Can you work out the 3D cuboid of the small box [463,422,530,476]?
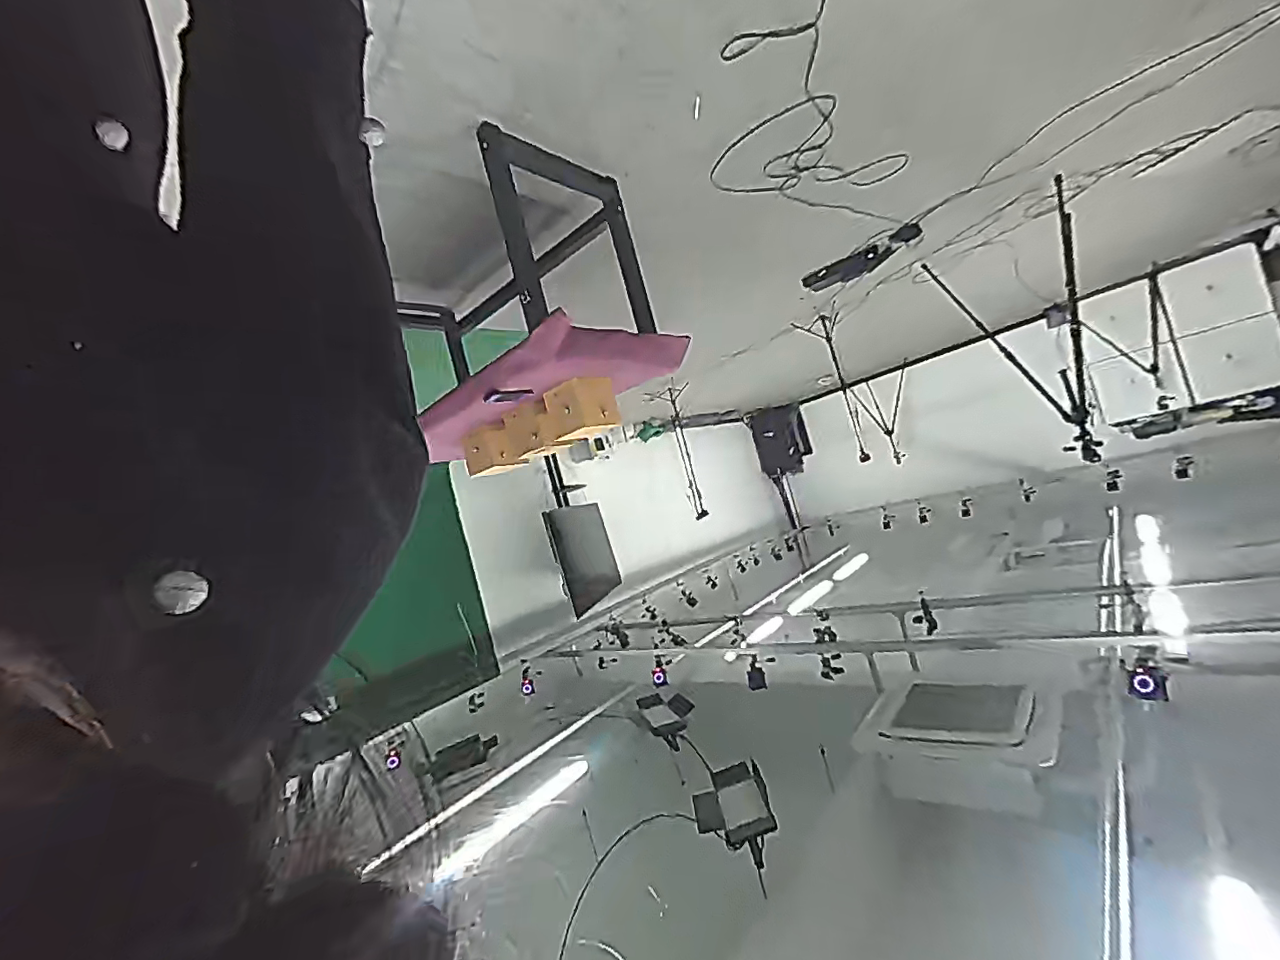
[{"bbox_3d":[-0.565,-0.125,2.112,0.168,0.176,0.179,-17,177,36],"label":"small box"}]

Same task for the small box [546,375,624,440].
[{"bbox_3d":[-0.189,-0.245,1.804,0.168,0.176,0.179,-18,177,42],"label":"small box"}]
